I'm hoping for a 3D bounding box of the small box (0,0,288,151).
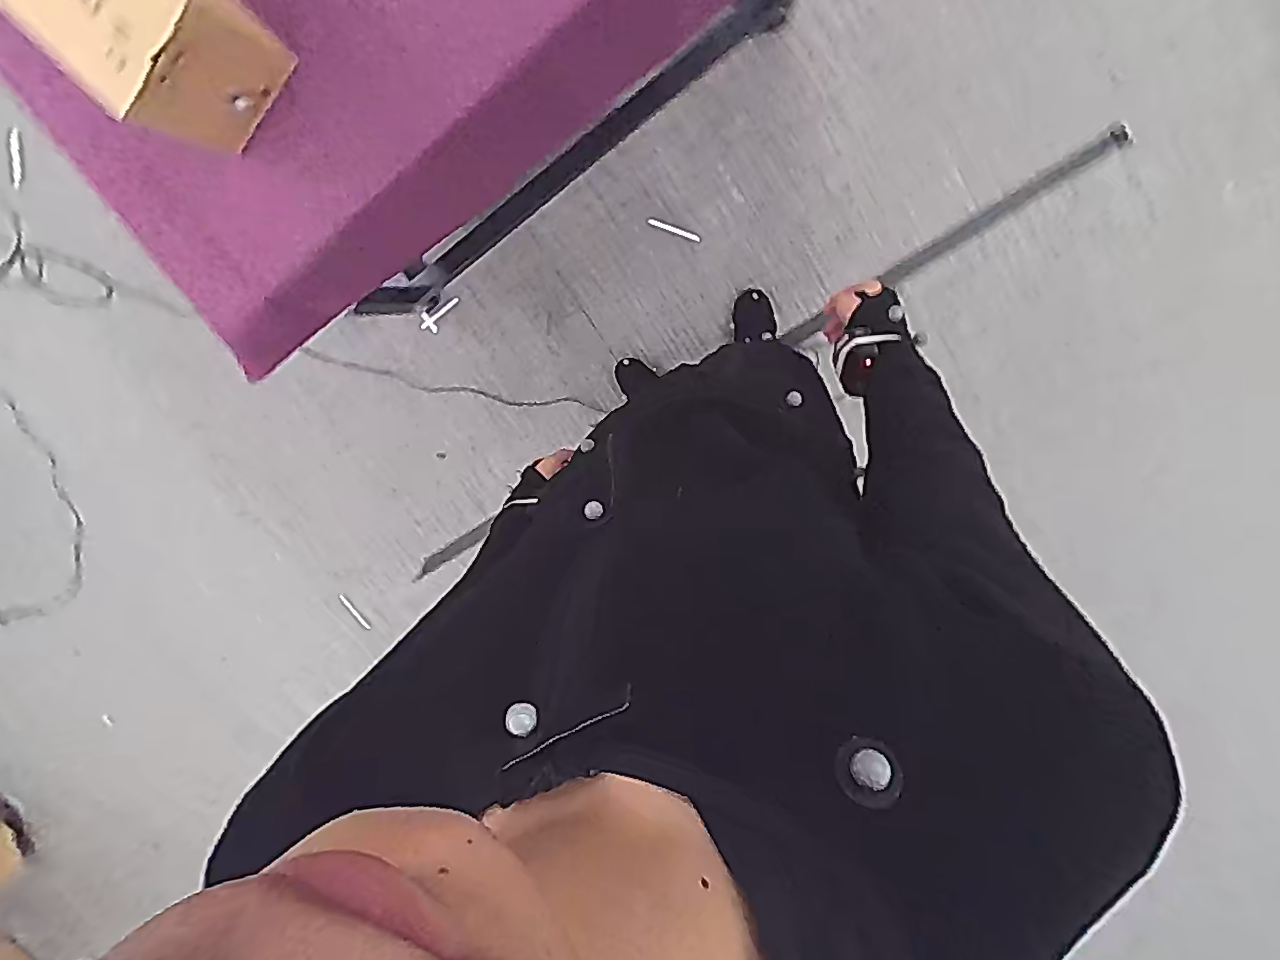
[{"bbox_3d":[-0.594,-0.548,0.663,0.168,0.176,0.179,-42,100,16],"label":"small box"}]
